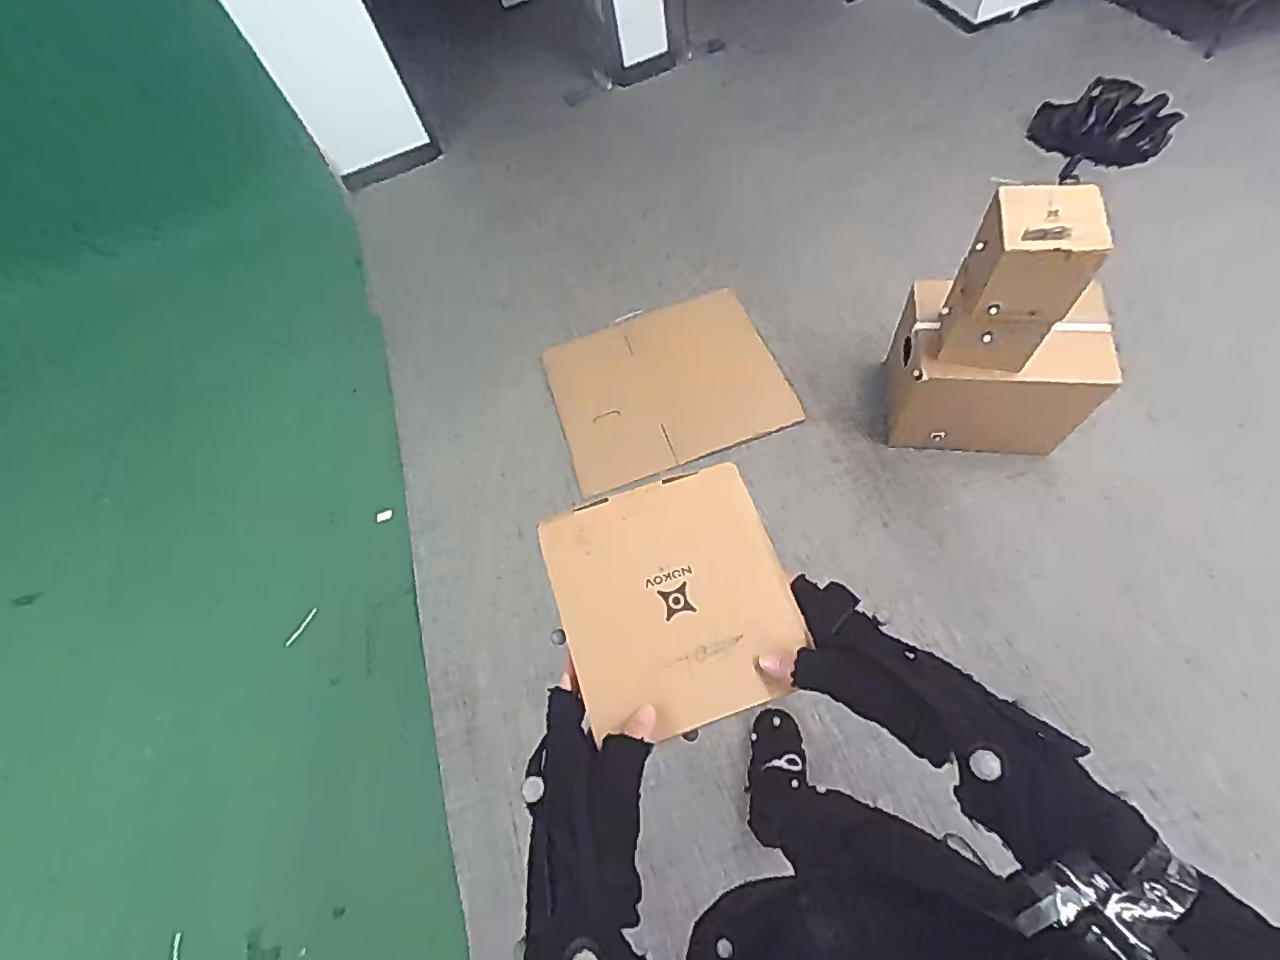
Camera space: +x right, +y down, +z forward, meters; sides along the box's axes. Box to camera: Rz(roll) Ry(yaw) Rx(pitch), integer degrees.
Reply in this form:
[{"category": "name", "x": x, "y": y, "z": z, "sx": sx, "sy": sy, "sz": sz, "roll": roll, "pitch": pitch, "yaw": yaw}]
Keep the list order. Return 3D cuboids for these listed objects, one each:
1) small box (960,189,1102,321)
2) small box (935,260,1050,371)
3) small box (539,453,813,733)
[{"category": "small box", "x": 0.740, "y": -0.425, "z": 1.045, "sx": 0.168, "sy": 0.176, "sz": 0.179, "roll": 4, "pitch": 65, "yaw": 13}, {"category": "small box", "x": 0.772, "y": -0.360, "z": 1.196, "sx": 0.179, "sy": 0.176, "sz": 0.168, "roll": 10, "pitch": 63, "yaw": 15}, {"category": "small box", "x": 0.021, "y": 0.105, "z": 0.478, "sx": 0.168, "sy": 0.176, "sz": 0.179, "roll": -17, "pitch": 70, "yaw": -6}]
